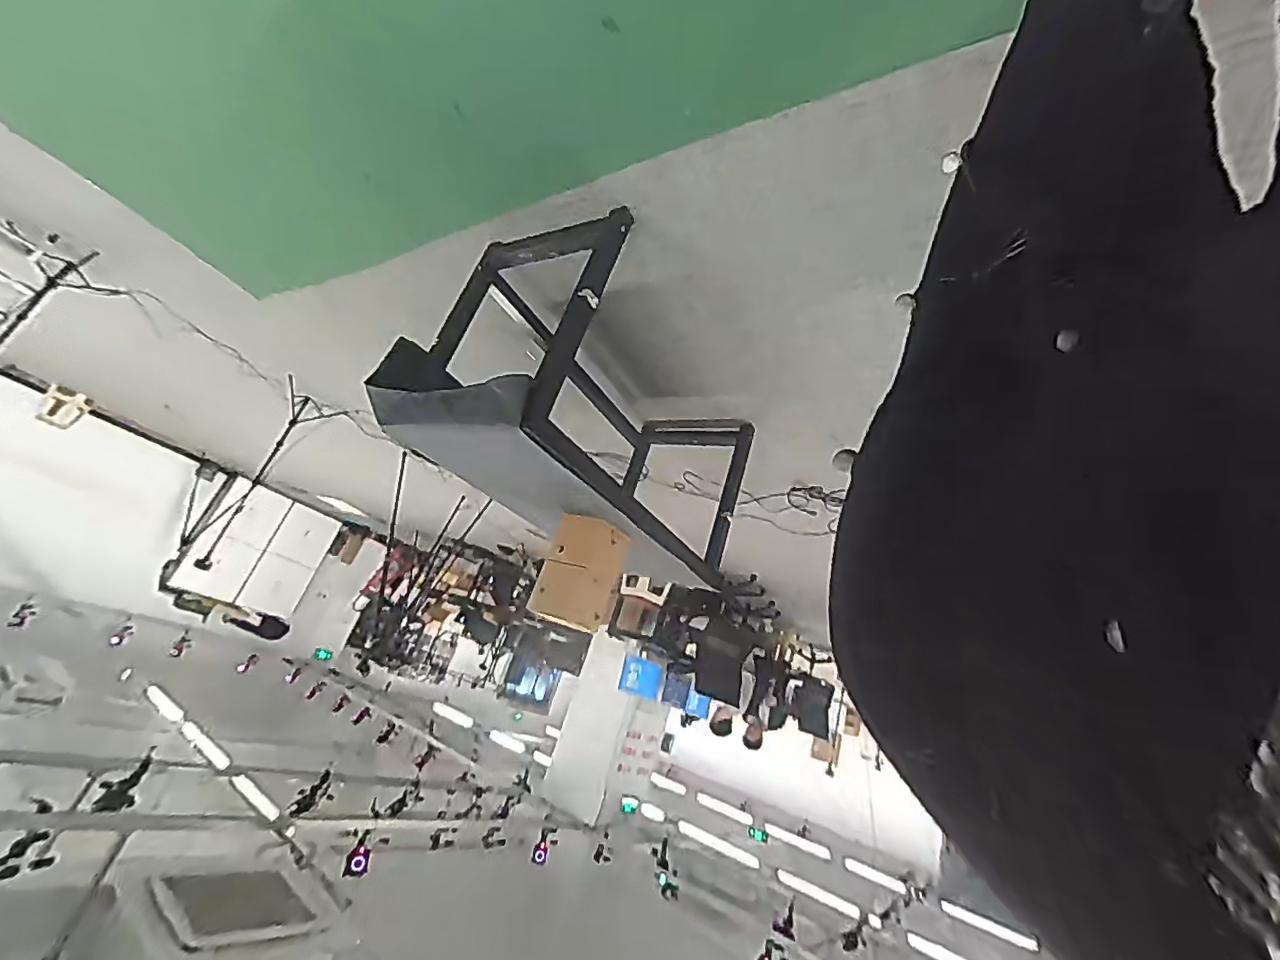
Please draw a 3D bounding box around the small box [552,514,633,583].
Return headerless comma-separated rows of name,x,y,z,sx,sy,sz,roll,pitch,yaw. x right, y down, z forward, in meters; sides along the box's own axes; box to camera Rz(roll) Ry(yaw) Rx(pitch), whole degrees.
small box,-0.150,0.220,1.776,0.179,0.176,0.168,4,155,36
